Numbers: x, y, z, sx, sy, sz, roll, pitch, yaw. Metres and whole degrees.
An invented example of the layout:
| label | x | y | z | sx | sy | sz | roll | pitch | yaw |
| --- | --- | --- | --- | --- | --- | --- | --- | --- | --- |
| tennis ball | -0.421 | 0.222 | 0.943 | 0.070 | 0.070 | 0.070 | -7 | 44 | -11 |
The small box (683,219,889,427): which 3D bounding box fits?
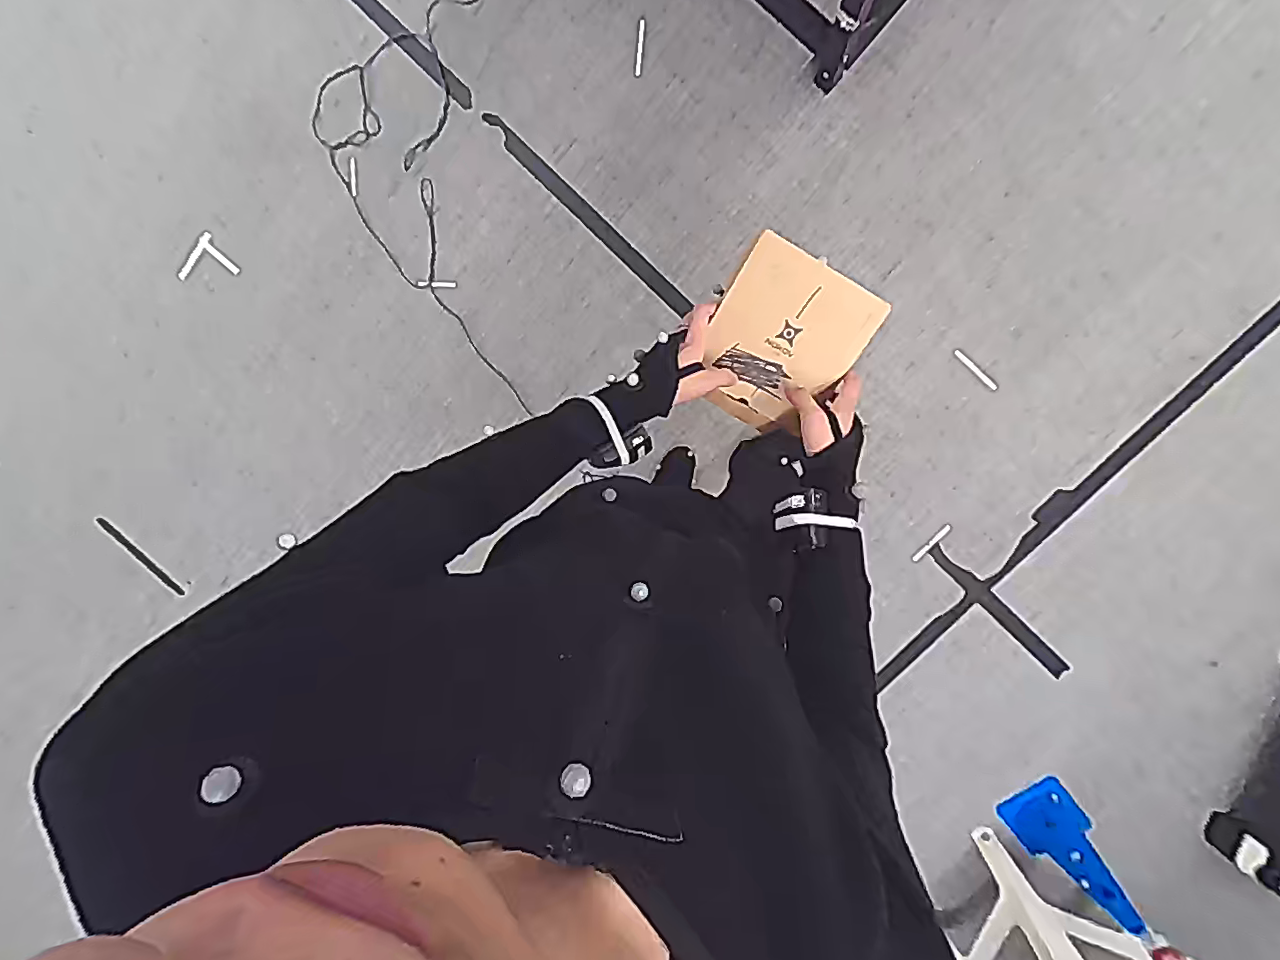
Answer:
| label | x | y | z | sx | sy | sz | roll | pitch | yaw |
| --- | --- | --- | --- | --- | --- | --- | --- | --- | --- |
| small box | 0.171 | -0.197 | 0.681 | 0.168 | 0.176 | 0.179 | 28 | 111 | -5 |
